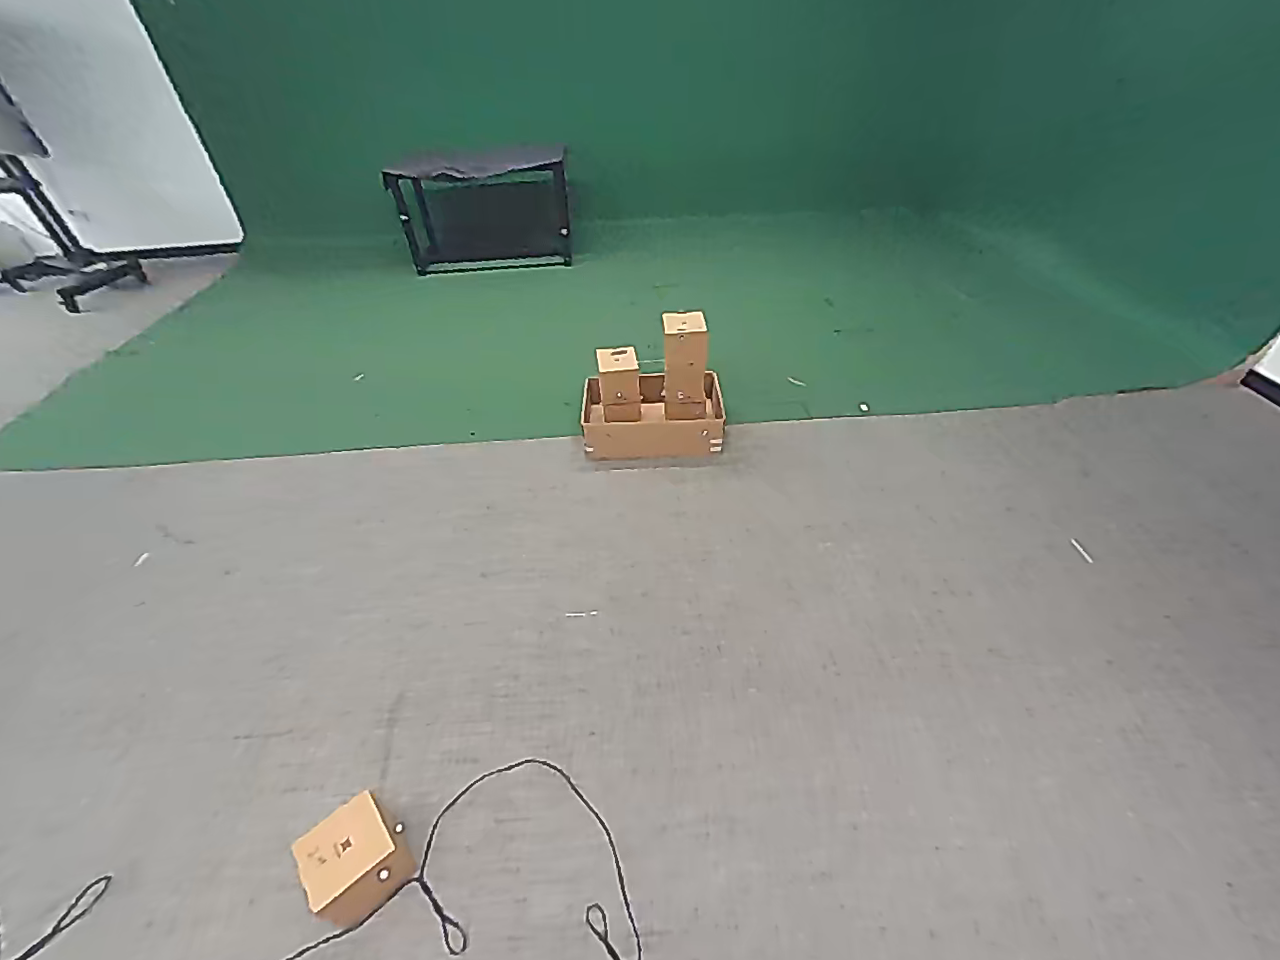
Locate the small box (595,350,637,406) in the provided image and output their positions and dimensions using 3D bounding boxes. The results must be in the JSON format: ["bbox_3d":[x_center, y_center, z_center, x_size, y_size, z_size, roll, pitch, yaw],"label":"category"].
[{"bbox_3d":[-0.105,-0.442,2.347,0.168,0.176,0.179,-6,44,-5],"label":"small box"}]

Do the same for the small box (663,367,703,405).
[{"bbox_3d":[0.181,-0.442,2.331,0.168,0.176,0.179,-2,43,3],"label":"small box"}]

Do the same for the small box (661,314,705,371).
[{"bbox_3d":[0.172,-0.563,2.220,0.168,0.176,0.179,-4,41,1],"label":"small box"}]

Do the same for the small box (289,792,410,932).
[{"bbox_3d":[-0.643,0.860,1.218,0.179,0.176,0.168,-32,48,-29],"label":"small box"}]

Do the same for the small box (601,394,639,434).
[{"bbox_3d":[-0.093,-0.328,2.466,0.168,0.176,0.179,-5,43,-3],"label":"small box"}]
